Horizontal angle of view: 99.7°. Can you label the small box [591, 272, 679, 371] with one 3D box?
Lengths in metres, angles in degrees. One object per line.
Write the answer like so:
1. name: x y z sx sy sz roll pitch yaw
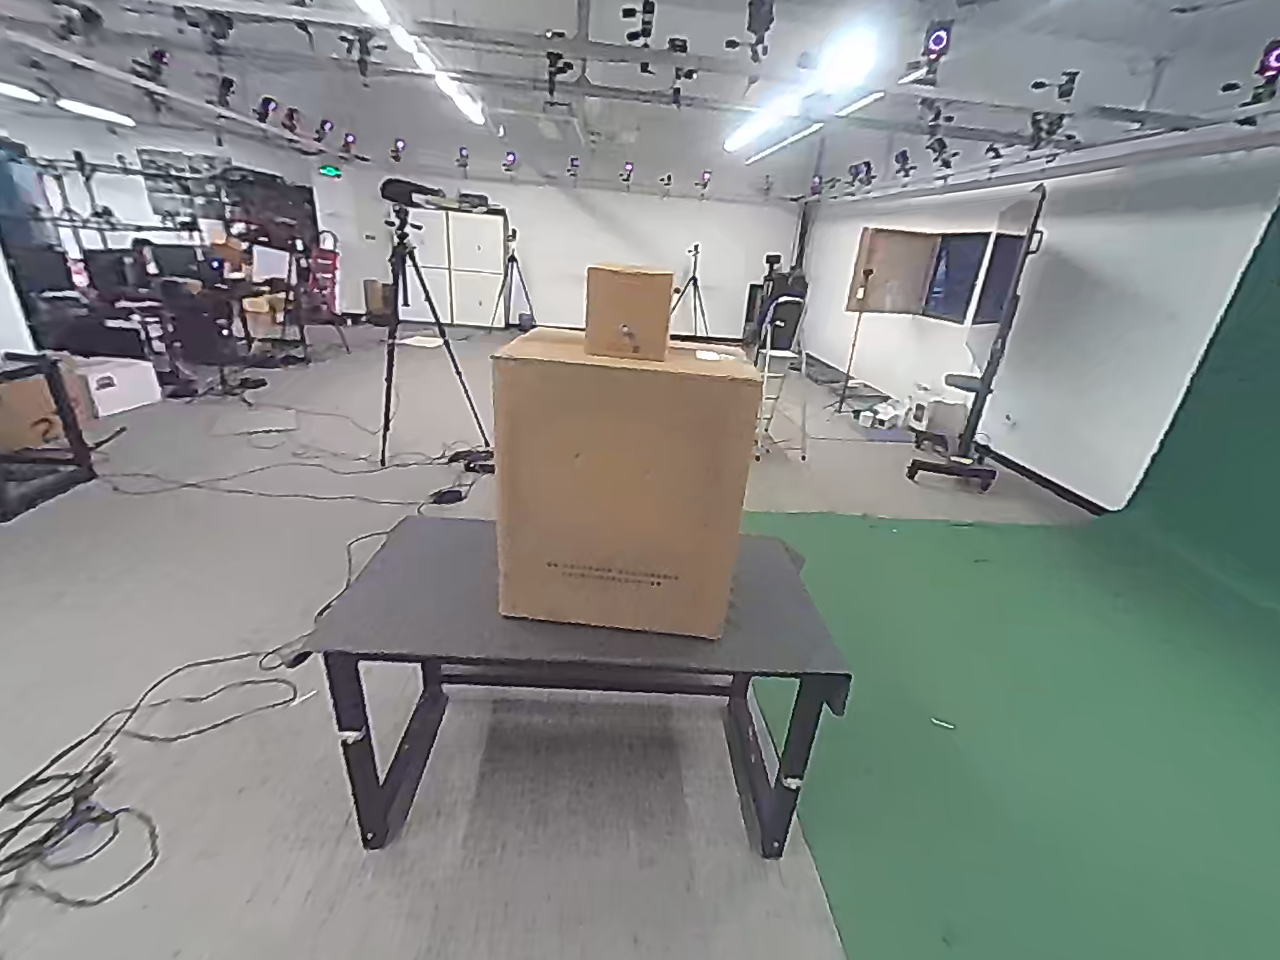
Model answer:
1. small box: -0.010 -0.339 1.145 0.168 0.176 0.179 6 25 2
